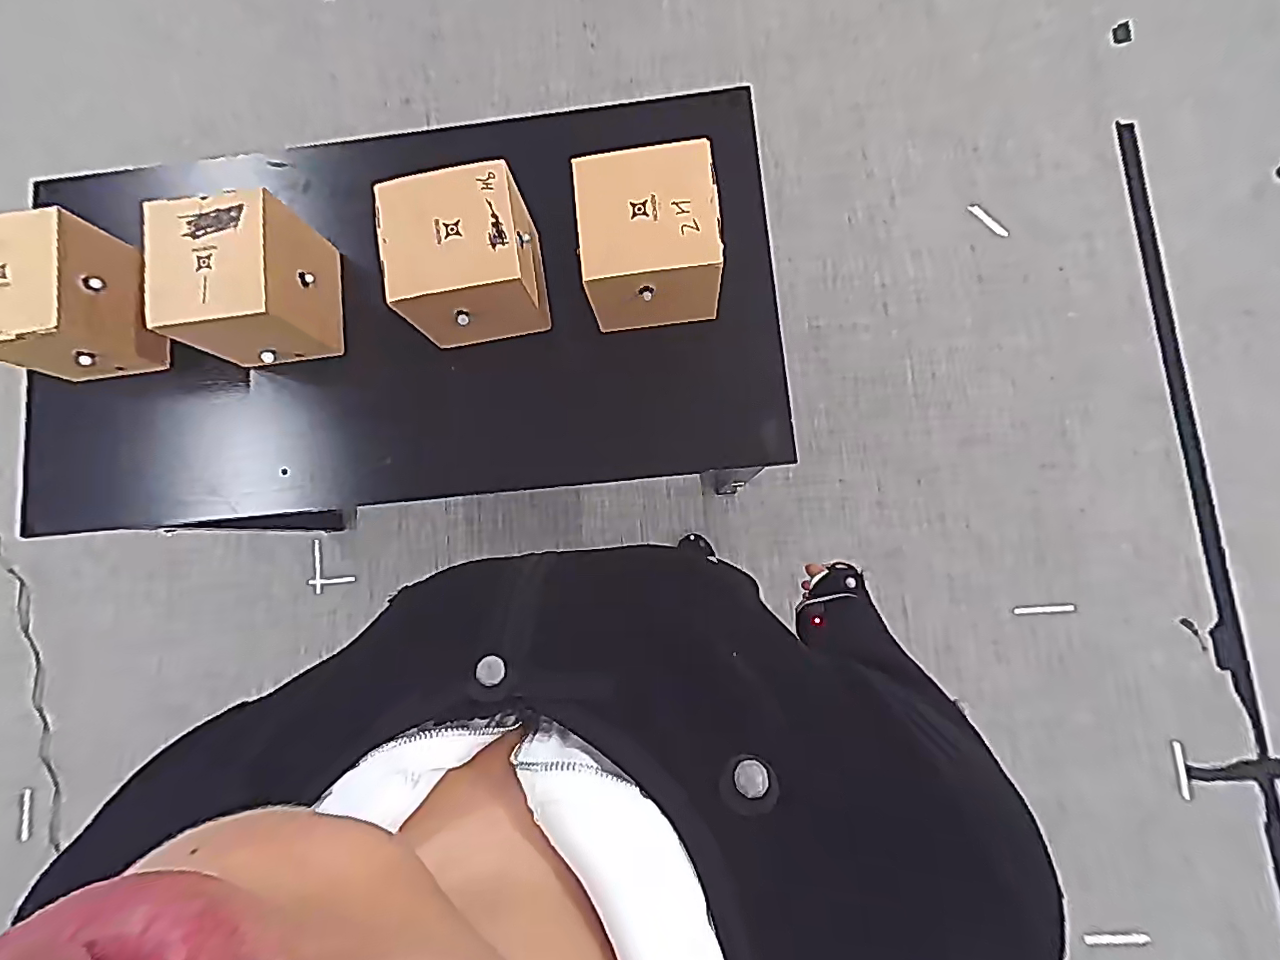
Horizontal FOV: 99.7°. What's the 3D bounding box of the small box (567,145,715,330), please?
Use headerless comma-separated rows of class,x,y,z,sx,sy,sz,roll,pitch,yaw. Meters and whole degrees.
small box,0.006,-0.322,0.752,0.179,0.176,0.168,-6,83,3

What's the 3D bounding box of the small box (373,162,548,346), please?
small box,-0.244,-0.304,0.766,0.179,0.176,0.168,-10,83,3

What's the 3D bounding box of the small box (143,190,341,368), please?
small box,-0.561,-0.279,0.782,0.168,0.176,0.179,-6,84,3

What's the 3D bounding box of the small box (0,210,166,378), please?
small box,-0.847,-0.259,0.797,0.168,0.176,0.179,-7,82,1
